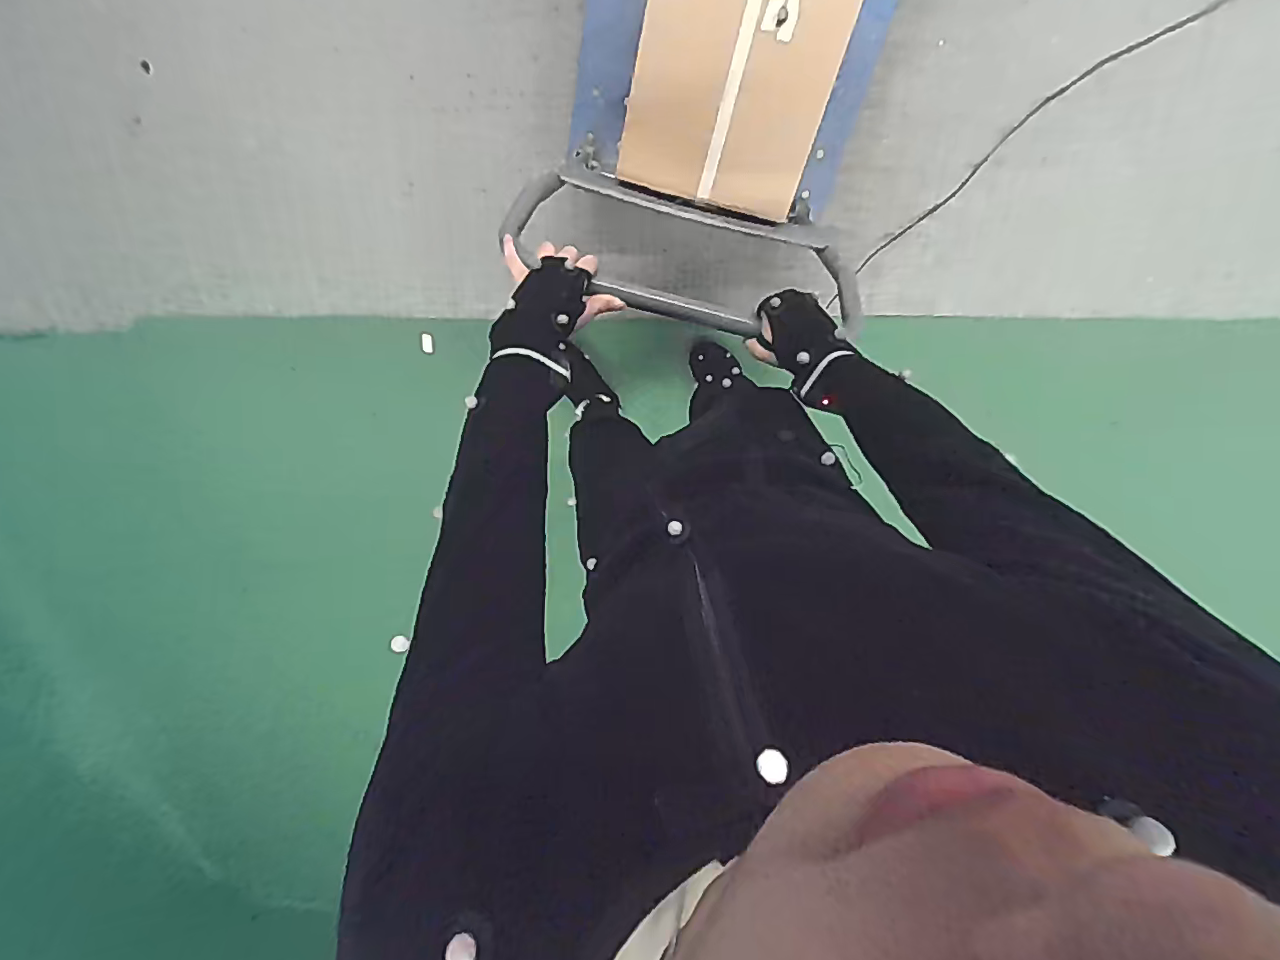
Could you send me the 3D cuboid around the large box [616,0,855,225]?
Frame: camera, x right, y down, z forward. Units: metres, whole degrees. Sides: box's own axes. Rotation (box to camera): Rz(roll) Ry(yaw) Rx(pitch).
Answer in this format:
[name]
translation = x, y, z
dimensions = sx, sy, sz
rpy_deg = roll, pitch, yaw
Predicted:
[large box]
translation = 0.161, -0.735, 0.997
dimensions = 0.320, 0.320, 0.408
rpy_deg = 14, 122, -4
